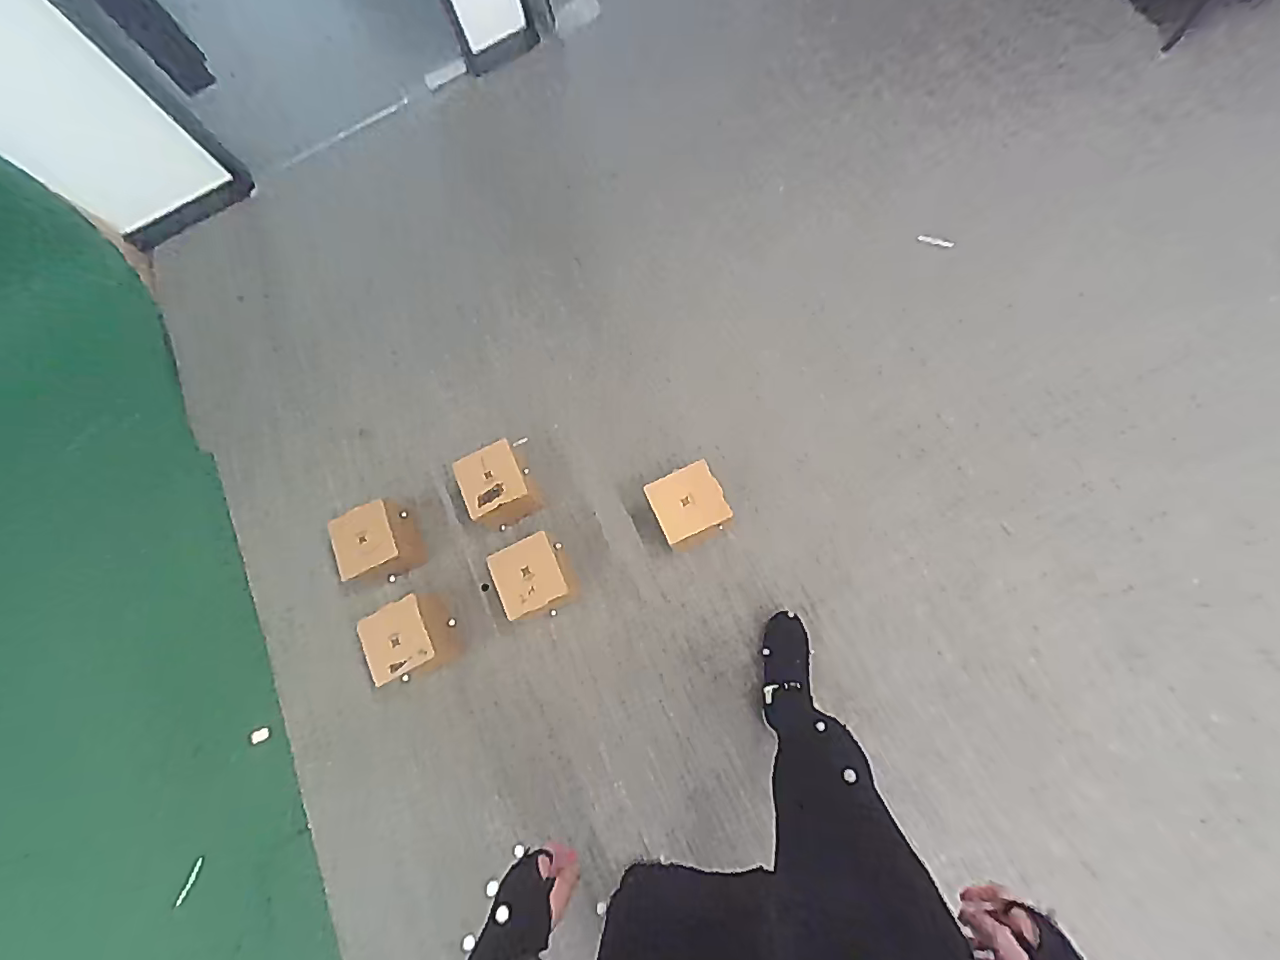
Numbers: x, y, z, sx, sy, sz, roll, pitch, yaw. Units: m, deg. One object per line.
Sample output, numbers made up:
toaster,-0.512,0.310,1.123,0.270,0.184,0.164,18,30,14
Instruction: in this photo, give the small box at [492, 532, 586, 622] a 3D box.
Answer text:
small box,-0.260,0.261,1.424,0.168,0.176,0.179,-26,72,1

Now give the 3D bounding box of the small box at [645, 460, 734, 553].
small box,0.133,0.077,1.420,0.179,0.176,0.168,-26,72,0

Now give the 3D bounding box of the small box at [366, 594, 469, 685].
small box,-0.581,0.421,1.426,0.168,0.176,0.179,-28,71,1

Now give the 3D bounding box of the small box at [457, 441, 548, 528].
small box,-0.376,0.023,1.508,0.168,0.176,0.179,-26,72,0
